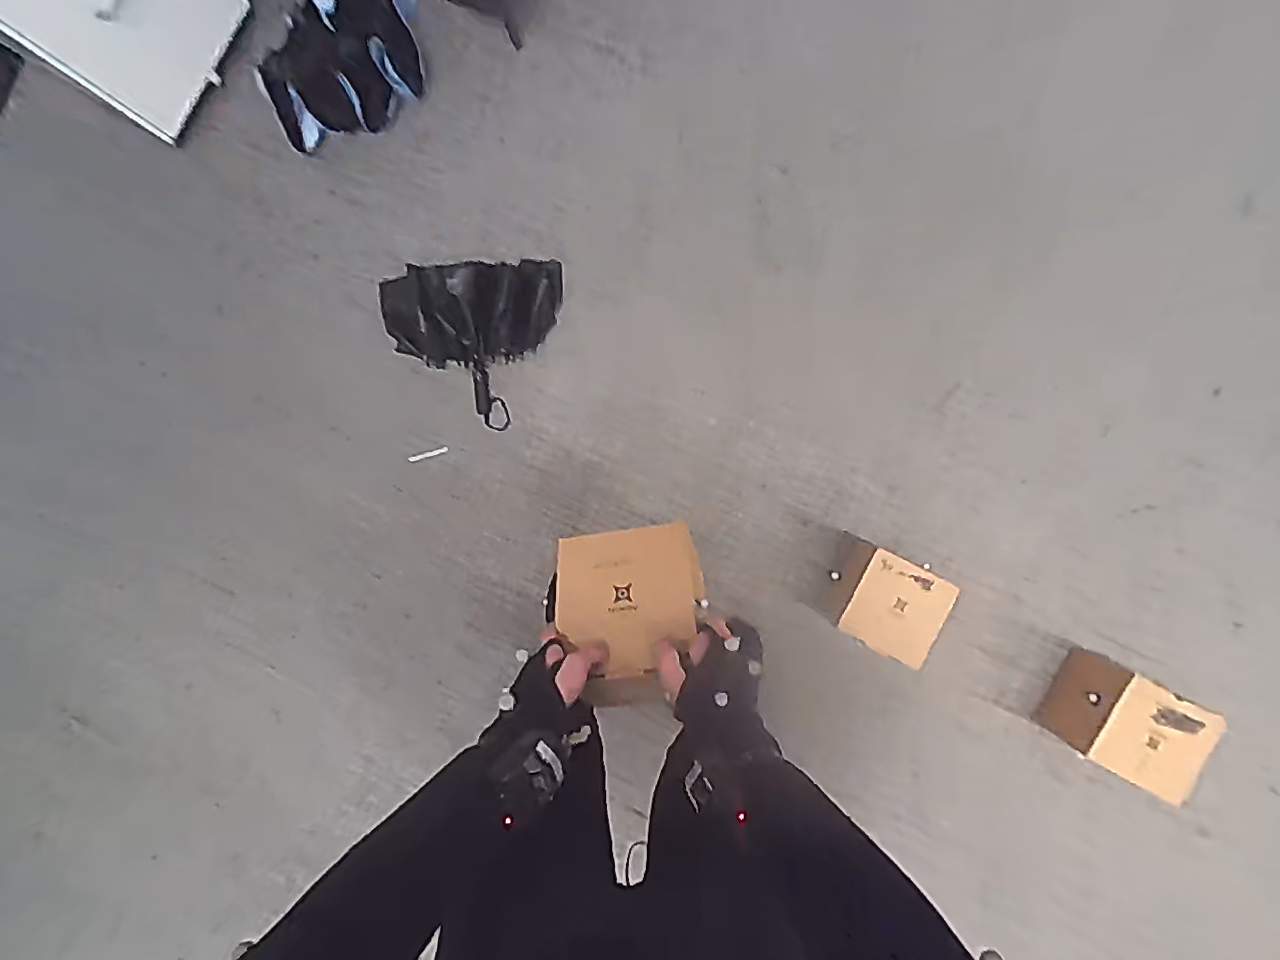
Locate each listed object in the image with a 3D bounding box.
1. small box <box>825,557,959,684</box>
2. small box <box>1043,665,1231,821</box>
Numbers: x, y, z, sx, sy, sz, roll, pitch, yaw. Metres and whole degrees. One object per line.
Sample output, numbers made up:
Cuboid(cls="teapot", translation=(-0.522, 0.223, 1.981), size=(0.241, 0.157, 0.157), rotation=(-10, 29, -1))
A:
Cuboid(cls="small box", translation=(0.490, 0.270, 1.084), size=(0.168, 0.176, 0.179), rotation=(27, 90, 8))
Cuboid(cls="small box", translation=(0.913, 0.478, 1.016), size=(0.168, 0.176, 0.179), rotation=(27, 91, 9))
